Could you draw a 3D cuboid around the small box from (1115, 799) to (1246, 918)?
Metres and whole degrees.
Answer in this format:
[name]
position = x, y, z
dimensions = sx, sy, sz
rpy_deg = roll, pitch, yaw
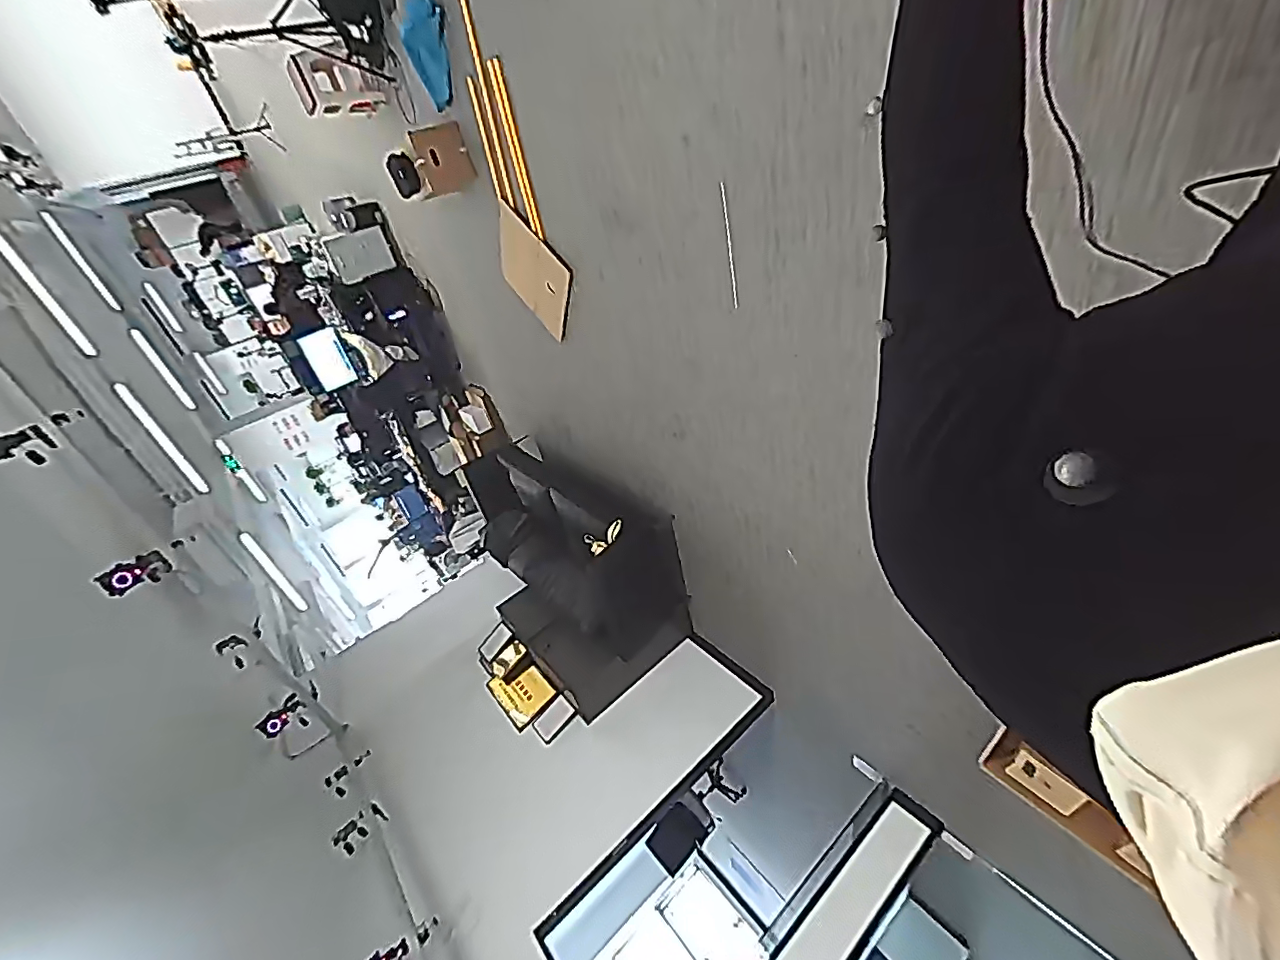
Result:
[small box]
position = 1.420, 0.990, 1.421
dimensions = 0.179, 0.176, 0.168
rpy_deg = 36, 148, 37
